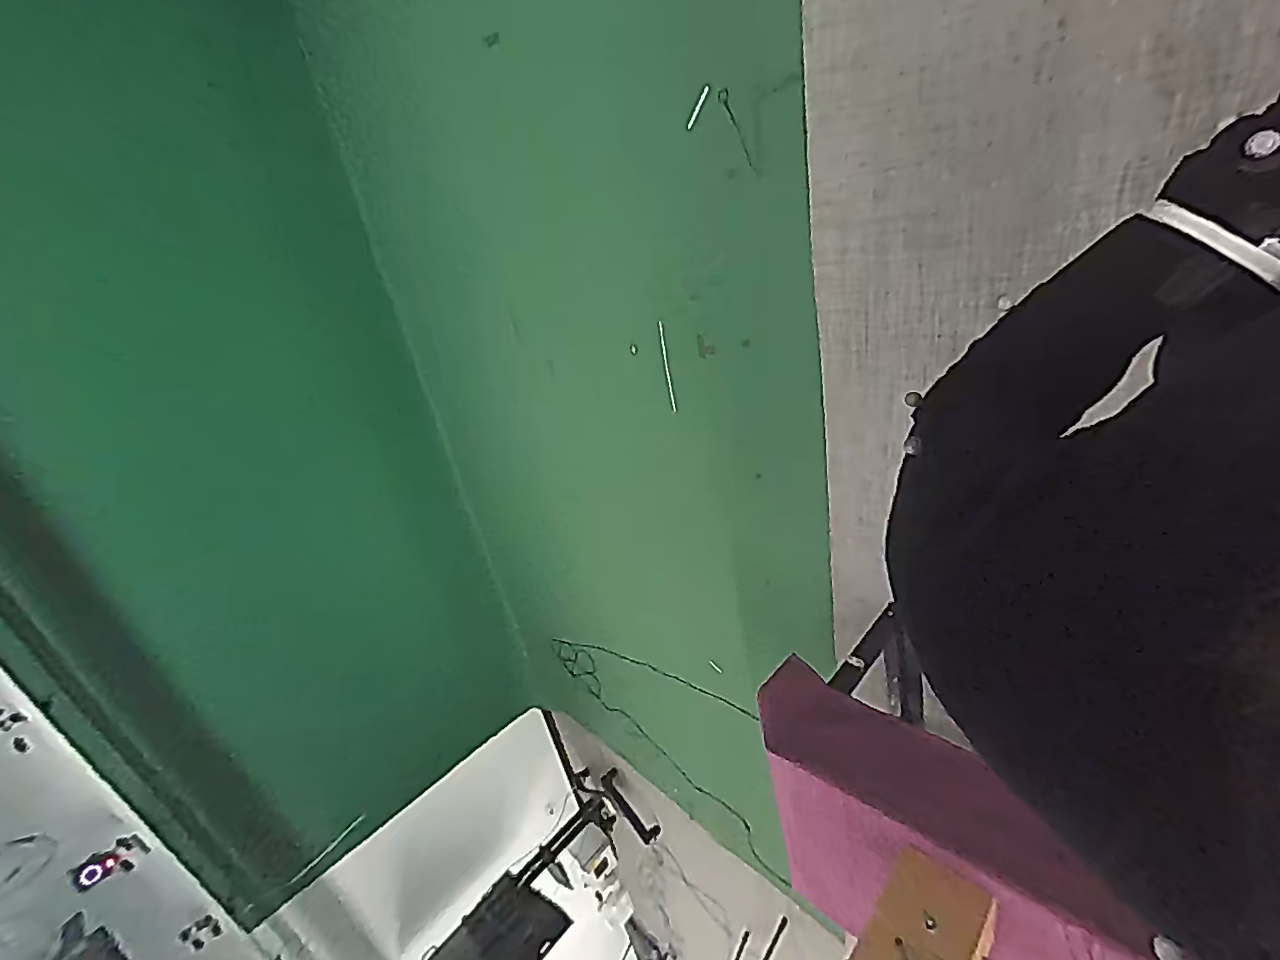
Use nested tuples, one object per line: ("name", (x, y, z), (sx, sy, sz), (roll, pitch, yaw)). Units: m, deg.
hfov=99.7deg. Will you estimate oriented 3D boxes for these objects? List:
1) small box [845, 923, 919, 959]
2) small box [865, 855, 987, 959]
("small box", (0.464, 0.993, 0.998), (0.168, 0.176, 0.179), (10, 121, 46))
("small box", (0.578, 0.919, 1.091), (0.179, 0.176, 0.168), (13, 123, 45))
